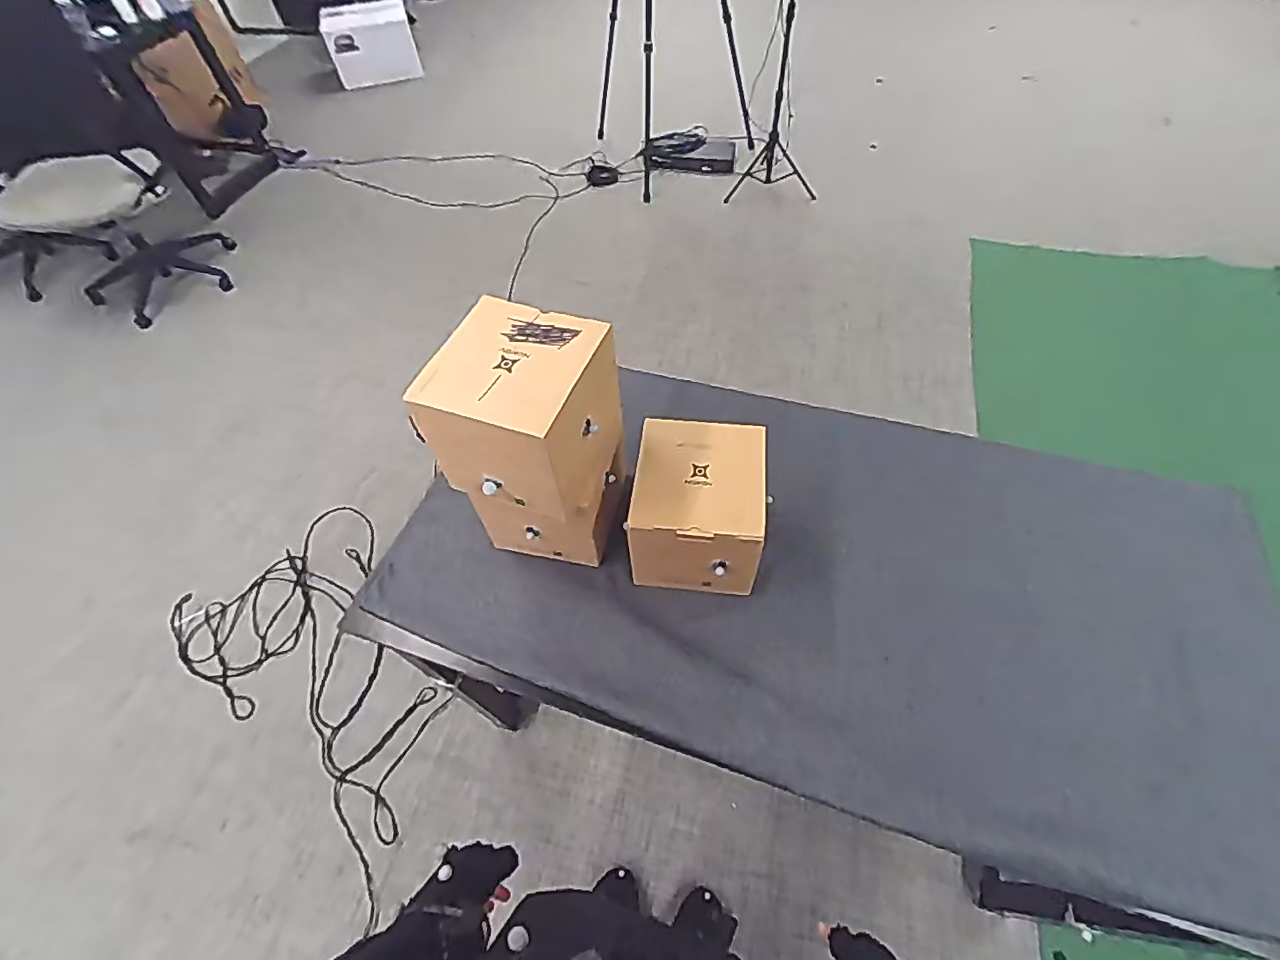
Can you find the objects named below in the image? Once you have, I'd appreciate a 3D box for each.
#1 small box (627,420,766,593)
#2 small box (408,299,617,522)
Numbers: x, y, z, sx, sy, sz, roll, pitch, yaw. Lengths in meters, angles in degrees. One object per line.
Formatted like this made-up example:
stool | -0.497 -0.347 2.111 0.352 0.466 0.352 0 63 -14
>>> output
small box | 0.080 0.041 0.750 0.168 0.176 0.179 5 55 6
small box | -0.132 -0.080 0.643 0.168 0.176 0.179 16 58 13
